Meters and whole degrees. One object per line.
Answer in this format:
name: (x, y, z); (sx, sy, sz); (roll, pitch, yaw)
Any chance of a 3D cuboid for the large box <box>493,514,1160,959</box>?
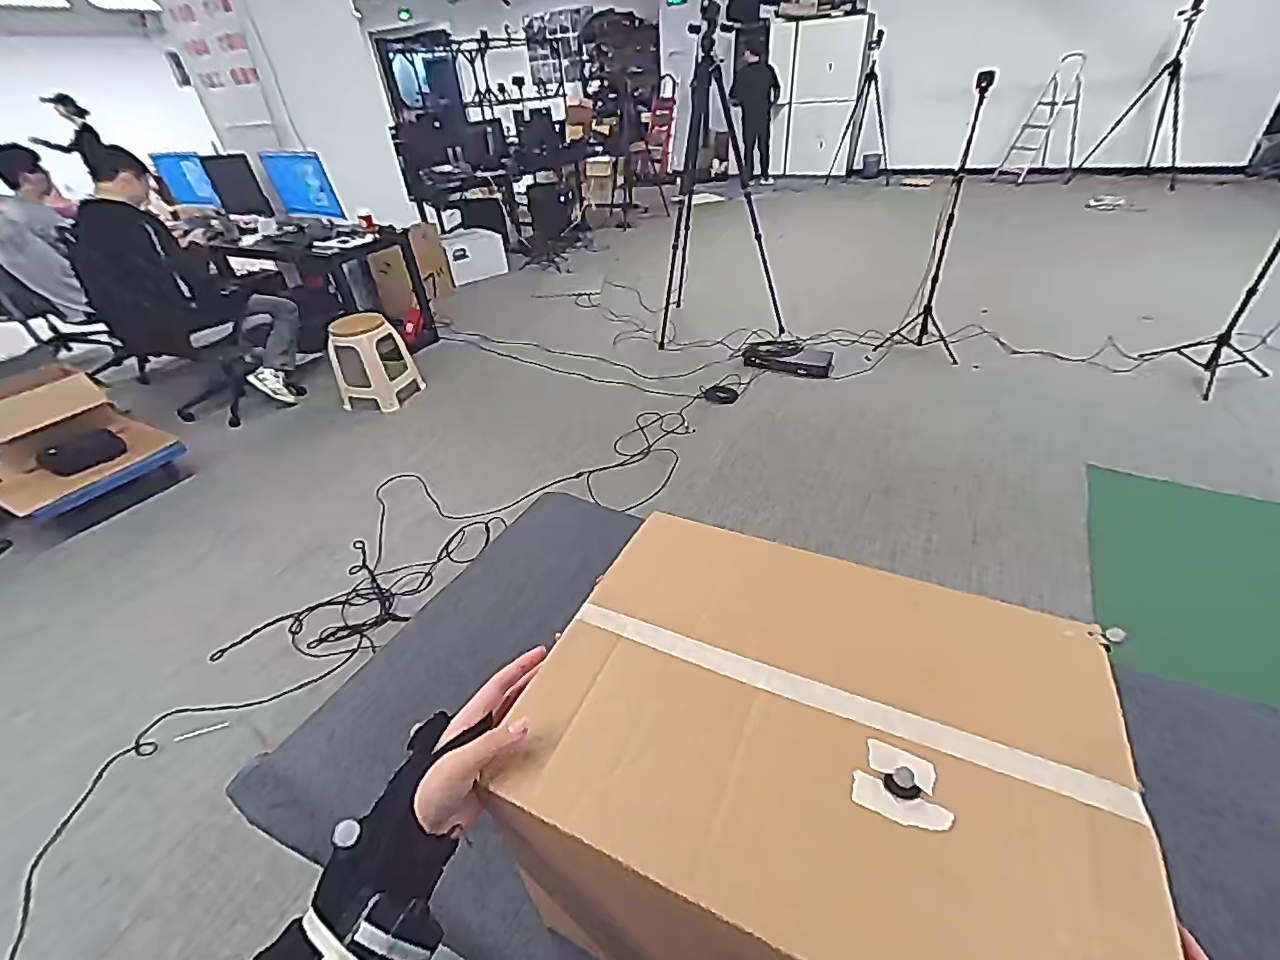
large box: (0.139, 0.282, 0.508); (0.408, 0.320, 0.320); (14, 40, 22)
